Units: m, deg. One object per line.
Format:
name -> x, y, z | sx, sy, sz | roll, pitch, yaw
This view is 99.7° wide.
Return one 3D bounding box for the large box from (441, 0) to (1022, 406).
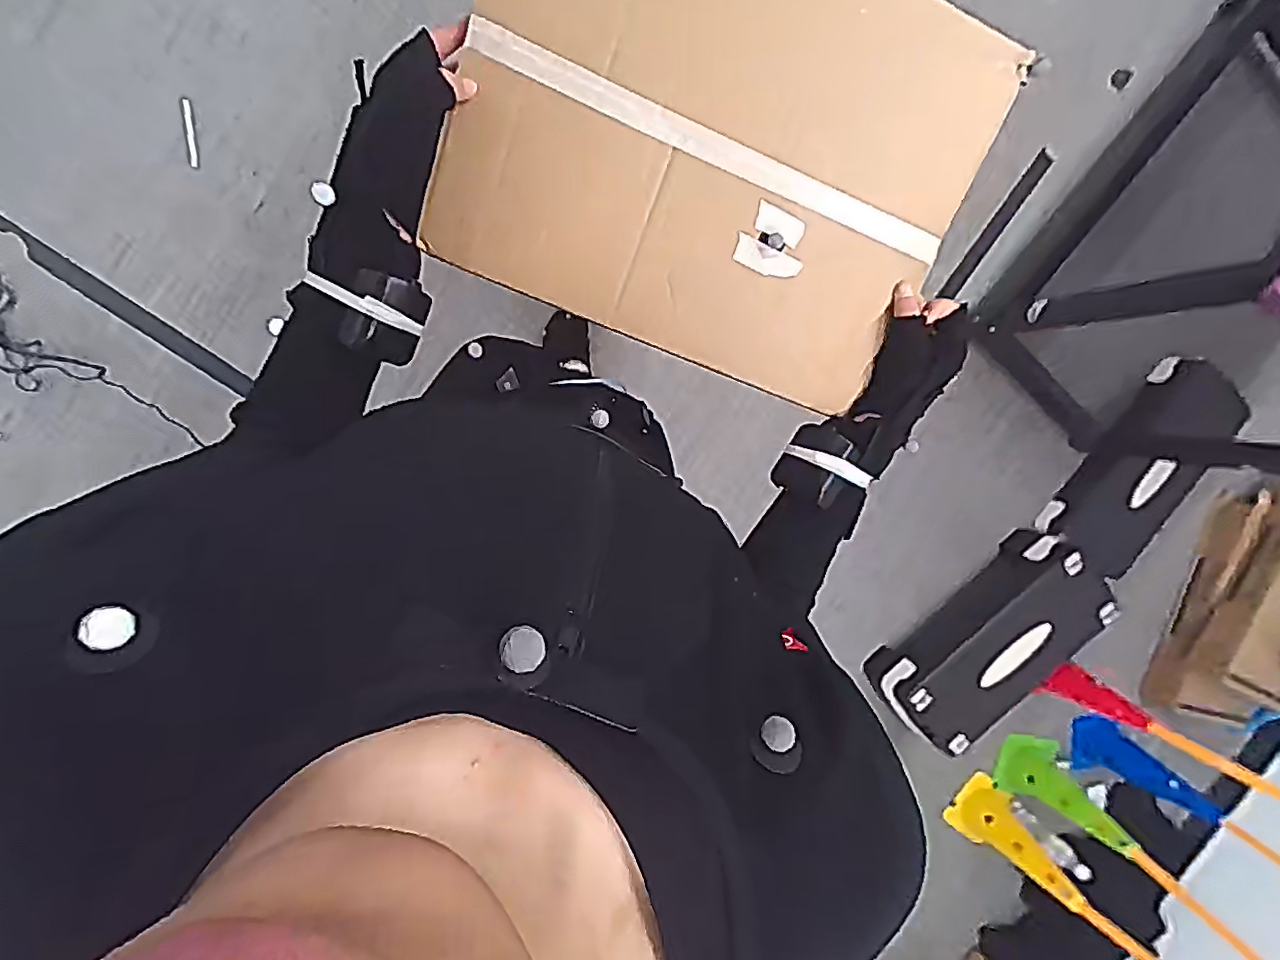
large box -> 0.058, -0.312, 0.578 | 0.408, 0.320, 0.320 | 20, 106, -11
